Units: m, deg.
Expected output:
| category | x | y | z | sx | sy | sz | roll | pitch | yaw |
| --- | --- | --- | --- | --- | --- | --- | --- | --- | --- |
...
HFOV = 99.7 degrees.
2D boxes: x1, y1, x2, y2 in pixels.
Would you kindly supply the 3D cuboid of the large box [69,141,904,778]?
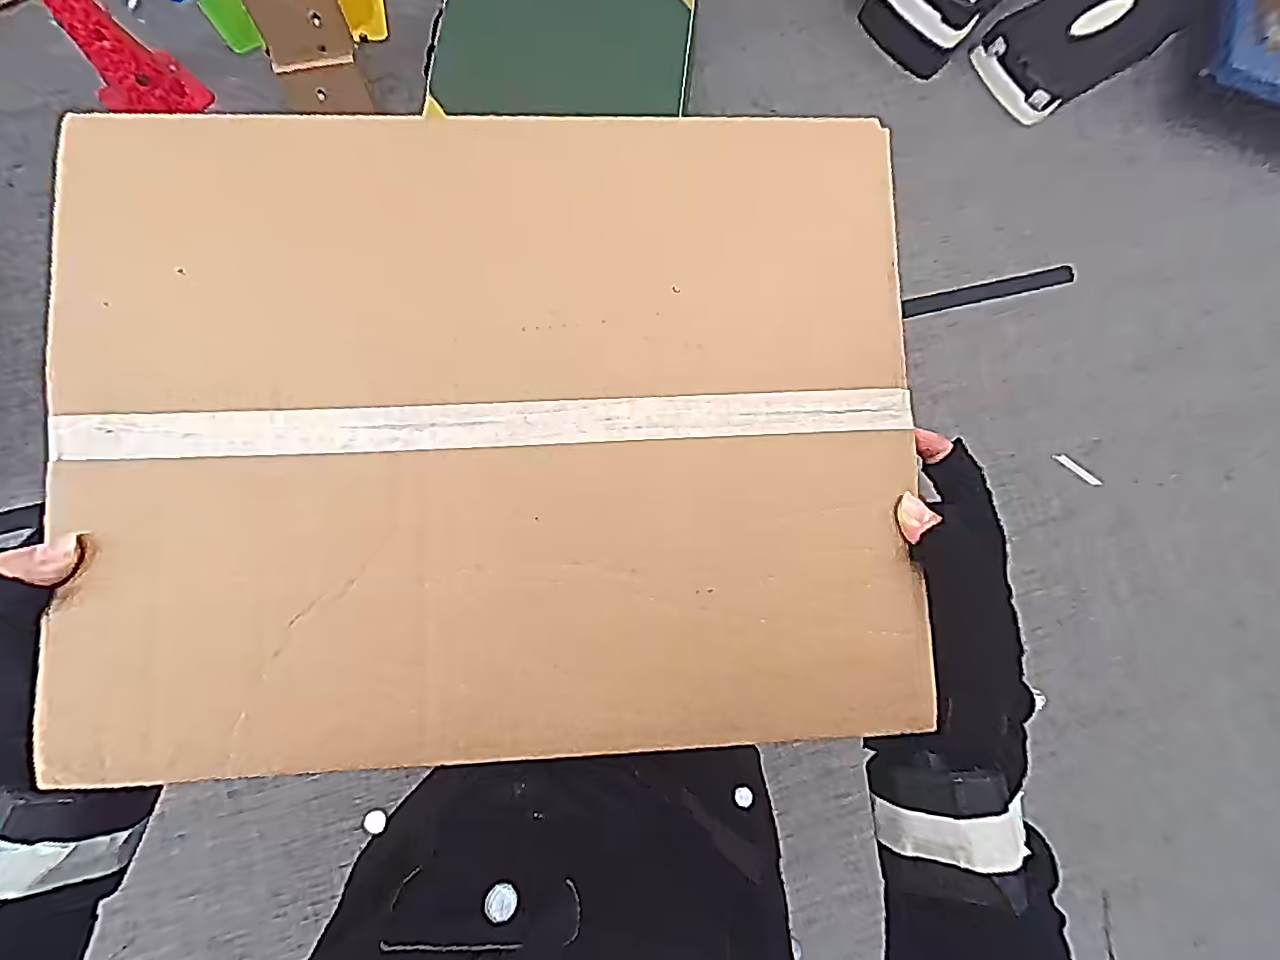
| category | x | y | z | sx | sy | sz | roll | pitch | yaw |
| --- | --- | --- | --- | --- | --- | --- | --- | --- | --- |
| large box | -0.077 | -0.013 | 0.421 | 0.408 | 0.320 | 0.320 | -2 | 85 | -4 |
